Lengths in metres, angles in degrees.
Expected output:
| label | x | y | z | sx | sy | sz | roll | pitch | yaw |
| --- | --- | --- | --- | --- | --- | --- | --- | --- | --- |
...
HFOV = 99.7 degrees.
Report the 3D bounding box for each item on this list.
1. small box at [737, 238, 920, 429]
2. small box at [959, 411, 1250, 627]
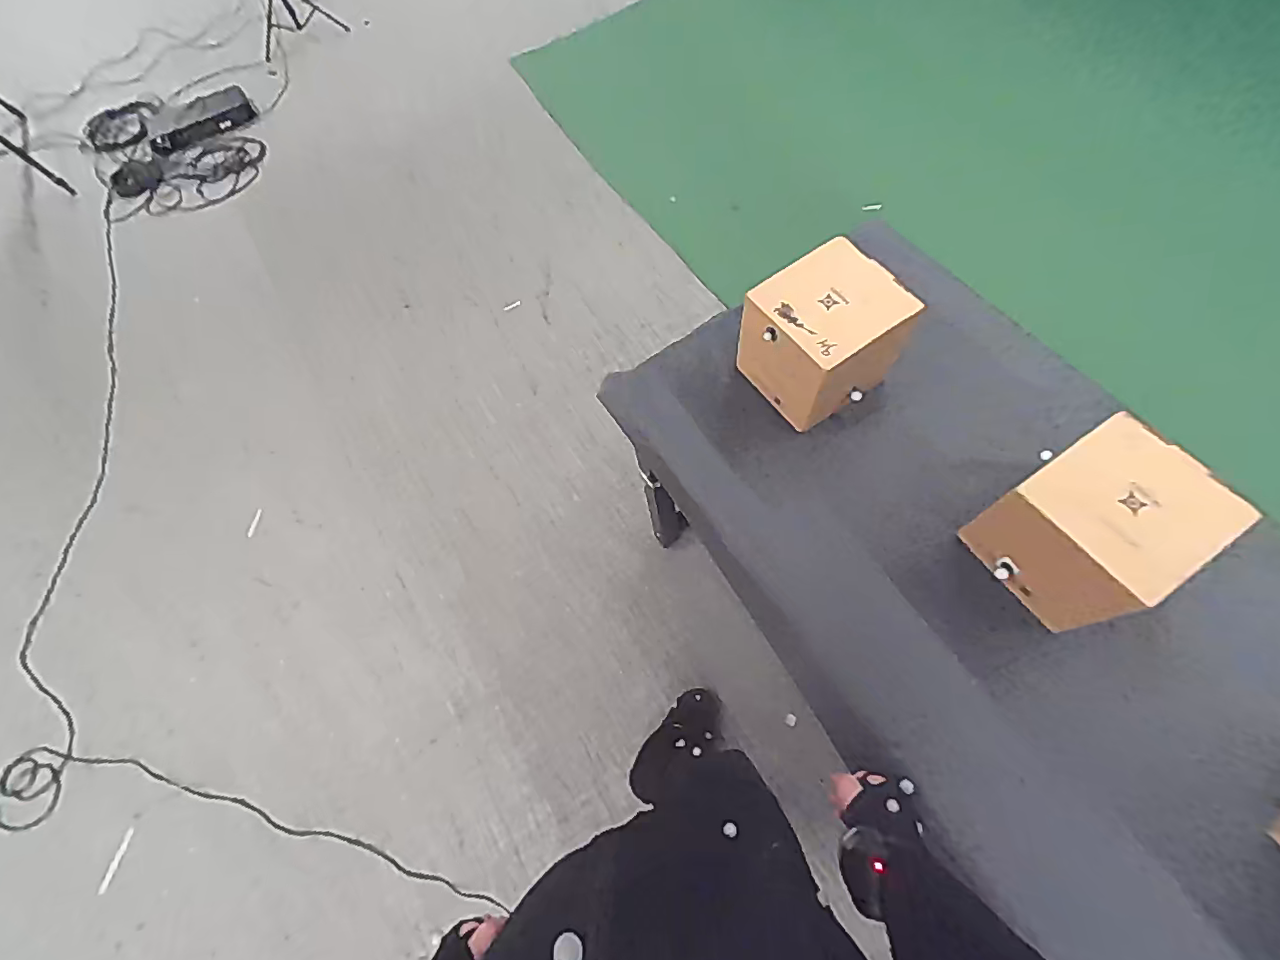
| label | x | y | z | sx | sy | sz | roll | pitch | yaw |
| --- | --- | --- | --- | --- | --- | --- | --- | --- | --- |
| small box | 0.262 | -0.210 | 0.801 | 0.179 | 0.176 | 0.168 | -33 | 67 | -10 |
| small box | 0.539 | 0.055 | 0.661 | 0.179 | 0.176 | 0.168 | -34 | 66 | -8 |
